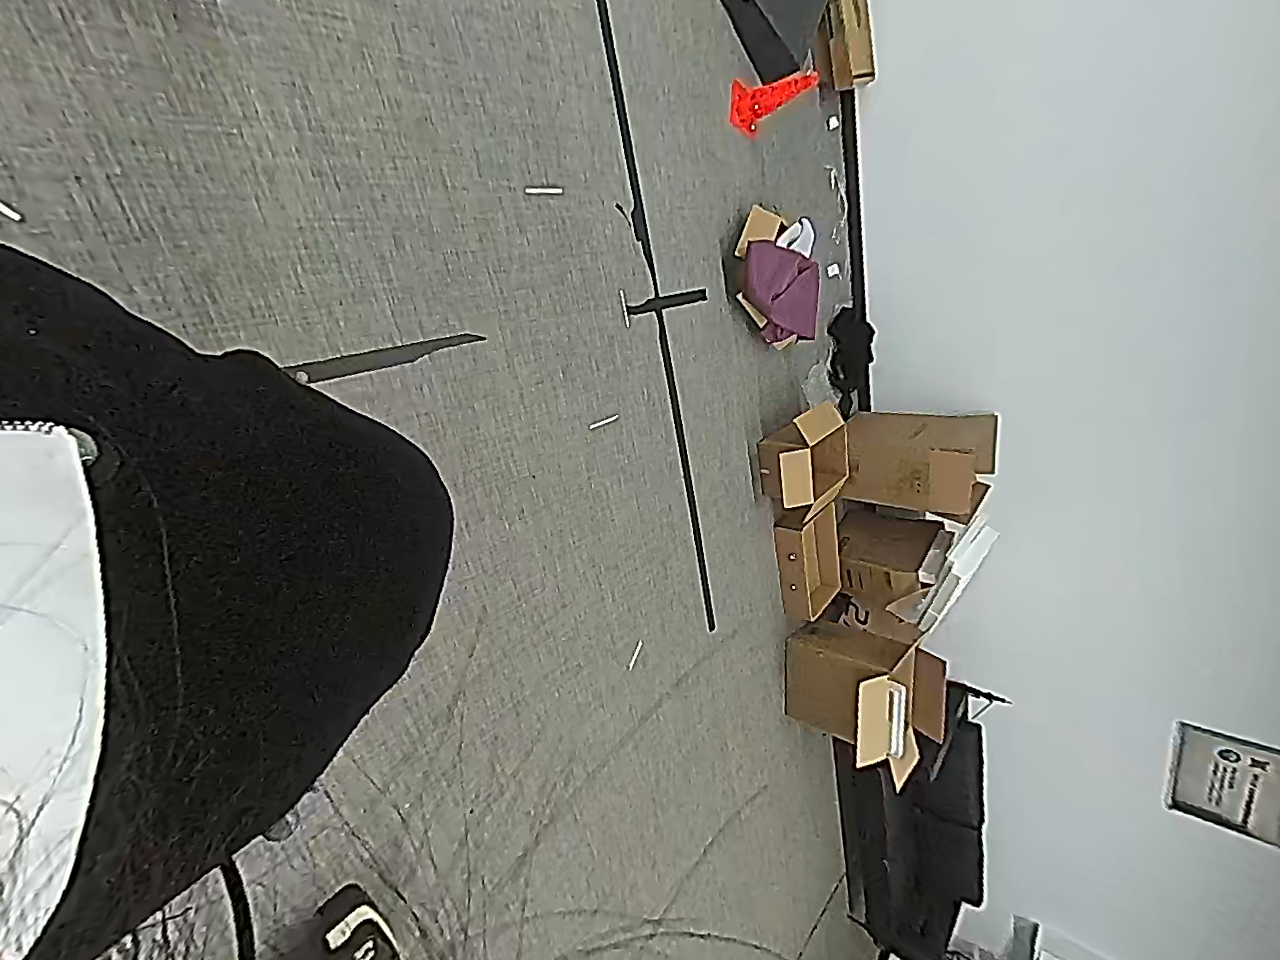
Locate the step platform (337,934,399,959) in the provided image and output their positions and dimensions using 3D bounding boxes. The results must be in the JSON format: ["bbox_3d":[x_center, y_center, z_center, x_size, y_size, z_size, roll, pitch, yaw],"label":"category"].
[{"bbox_3d":[-0.804,1.387,1.147,0.684,0.204,0.286,-30,117,-40],"label":"step platform"}]
